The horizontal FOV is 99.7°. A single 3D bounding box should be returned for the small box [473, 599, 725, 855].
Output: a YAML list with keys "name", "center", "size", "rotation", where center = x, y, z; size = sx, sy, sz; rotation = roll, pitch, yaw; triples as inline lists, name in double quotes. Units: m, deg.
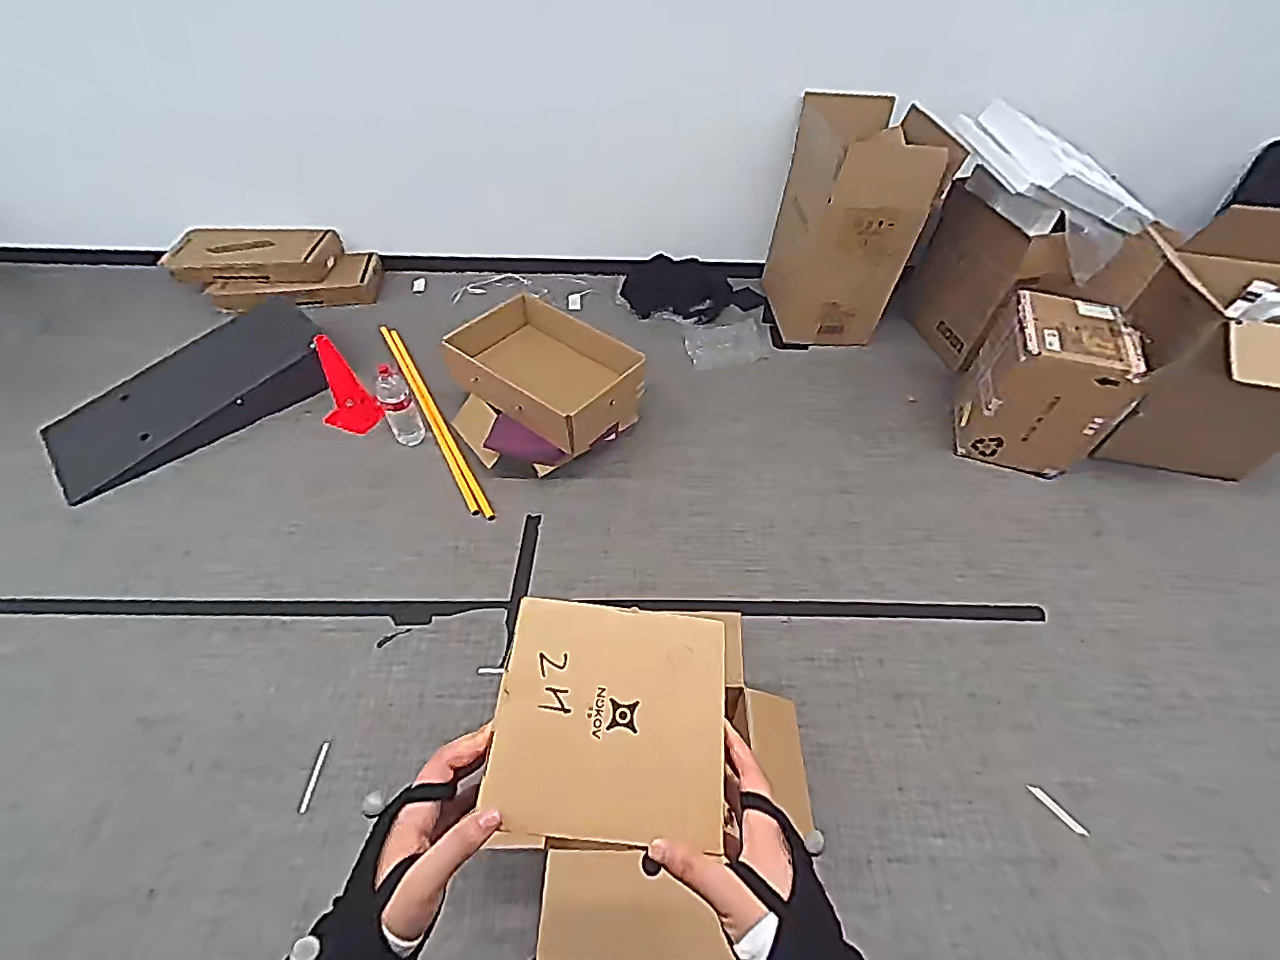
- name: "small box"
  center: [-0.028, 0.220, 0.481]
  size: [0.179, 0.176, 0.168]
  rotation: [7, 58, -1]
